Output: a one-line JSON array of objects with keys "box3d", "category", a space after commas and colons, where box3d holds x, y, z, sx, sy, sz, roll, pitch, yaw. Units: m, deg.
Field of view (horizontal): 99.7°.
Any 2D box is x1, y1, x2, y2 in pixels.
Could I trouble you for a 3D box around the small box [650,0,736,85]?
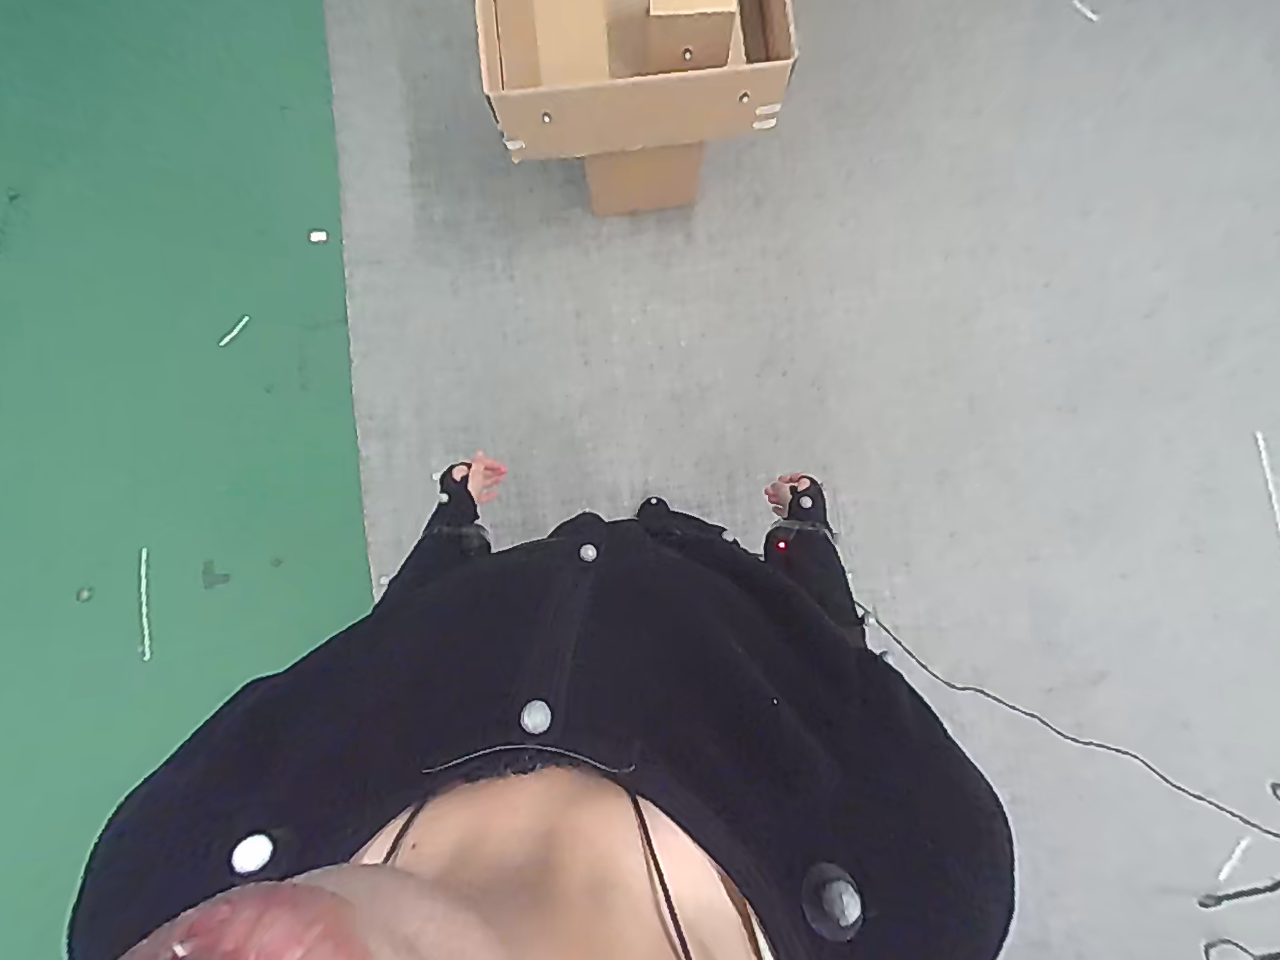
[{"box3d": [0.104, -0.949, 1.108, 0.168, 0.176, 0.179, -1, 85, 1], "category": "small box"}]
